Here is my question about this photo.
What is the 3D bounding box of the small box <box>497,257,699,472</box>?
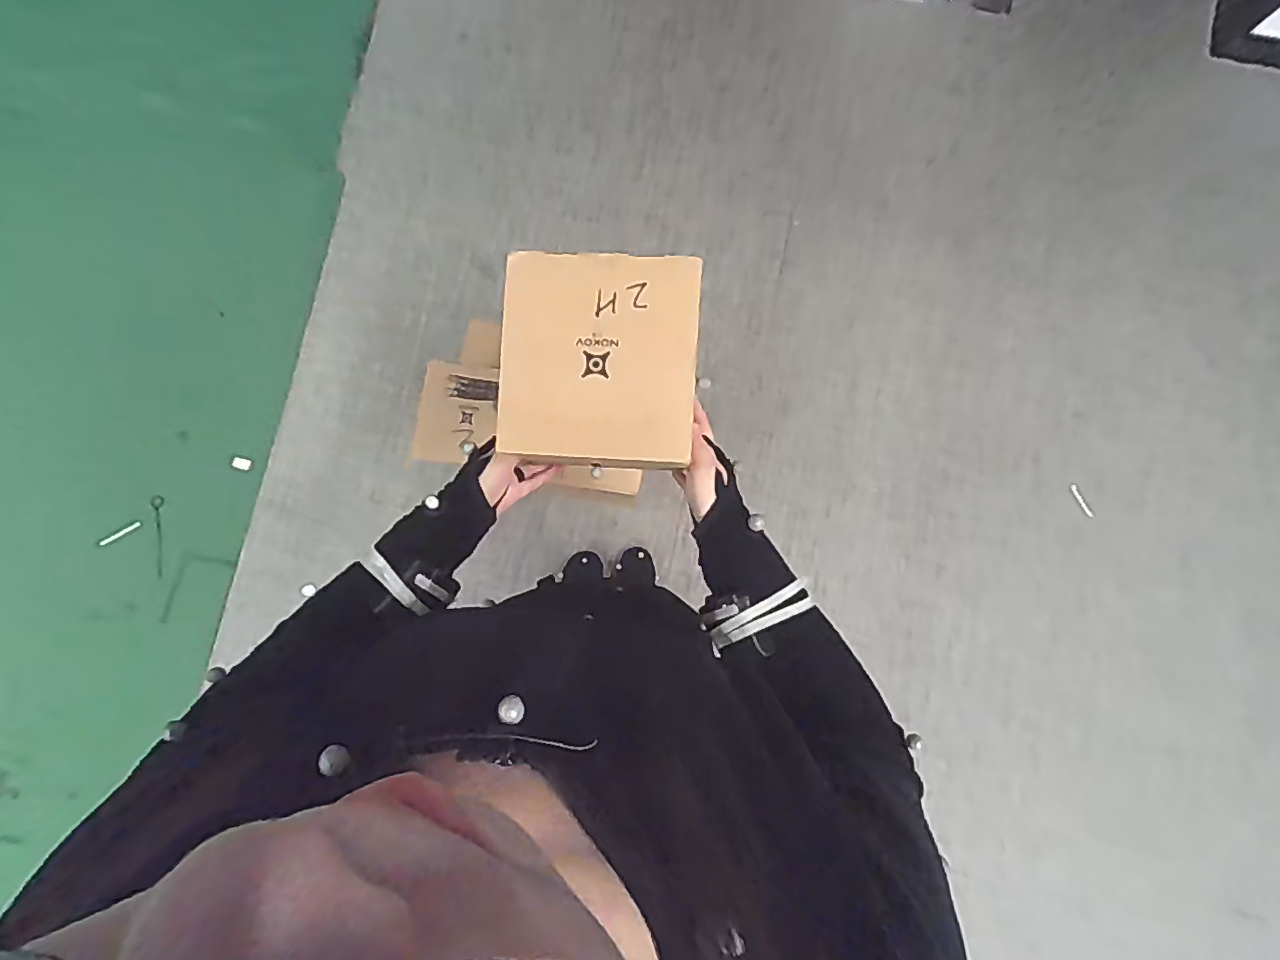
[{"bbox_3d":[-0.033,-0.100,0.544,0.168,0.176,0.179,4,89,2],"label":"small box"}]
